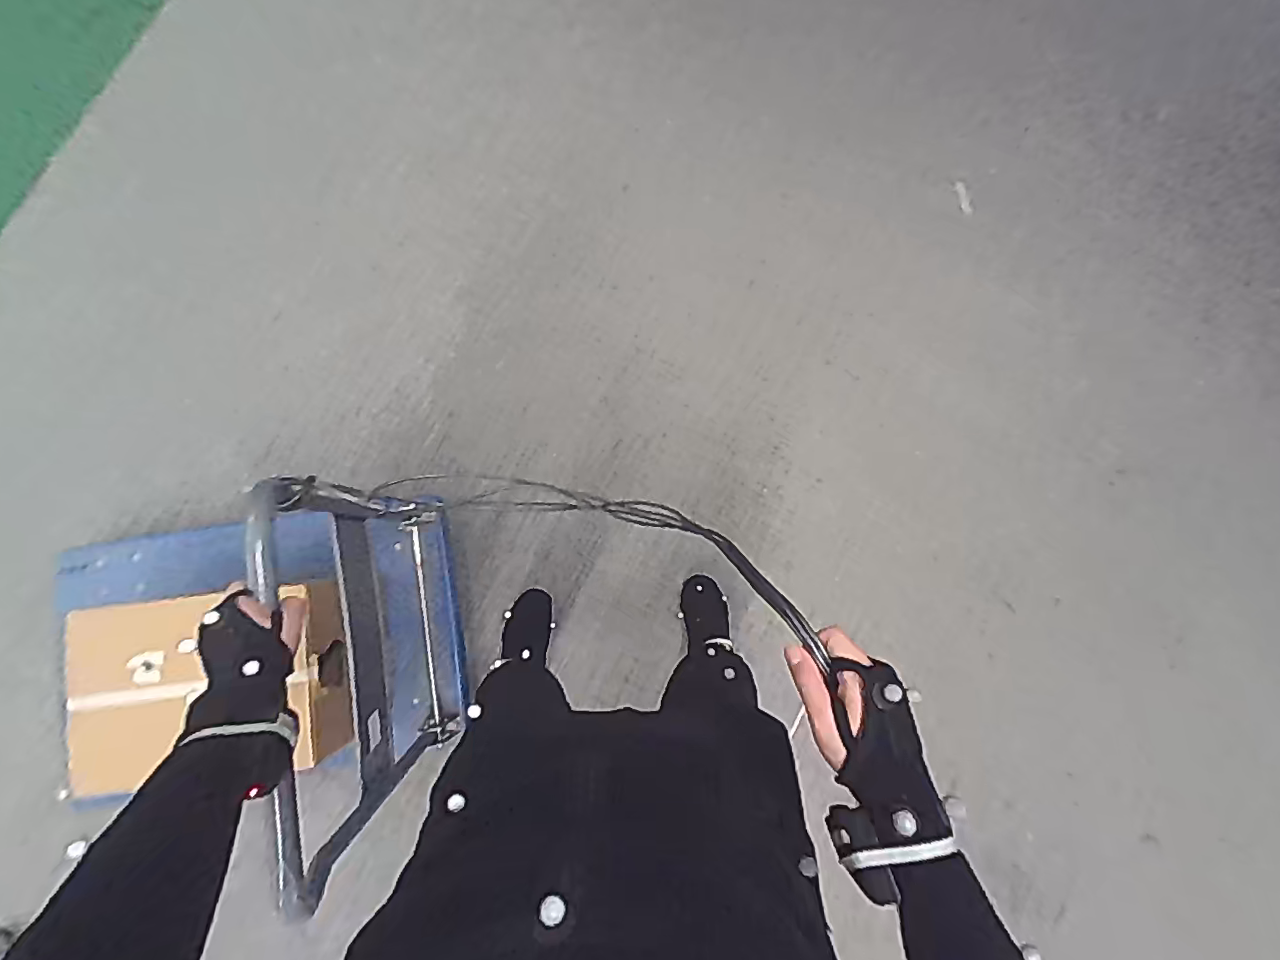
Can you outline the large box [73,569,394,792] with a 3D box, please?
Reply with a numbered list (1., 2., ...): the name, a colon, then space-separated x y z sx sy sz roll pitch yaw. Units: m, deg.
1. large box: -0.758 0.362 1.067 0.408 0.320 0.320 -5 84 -2
